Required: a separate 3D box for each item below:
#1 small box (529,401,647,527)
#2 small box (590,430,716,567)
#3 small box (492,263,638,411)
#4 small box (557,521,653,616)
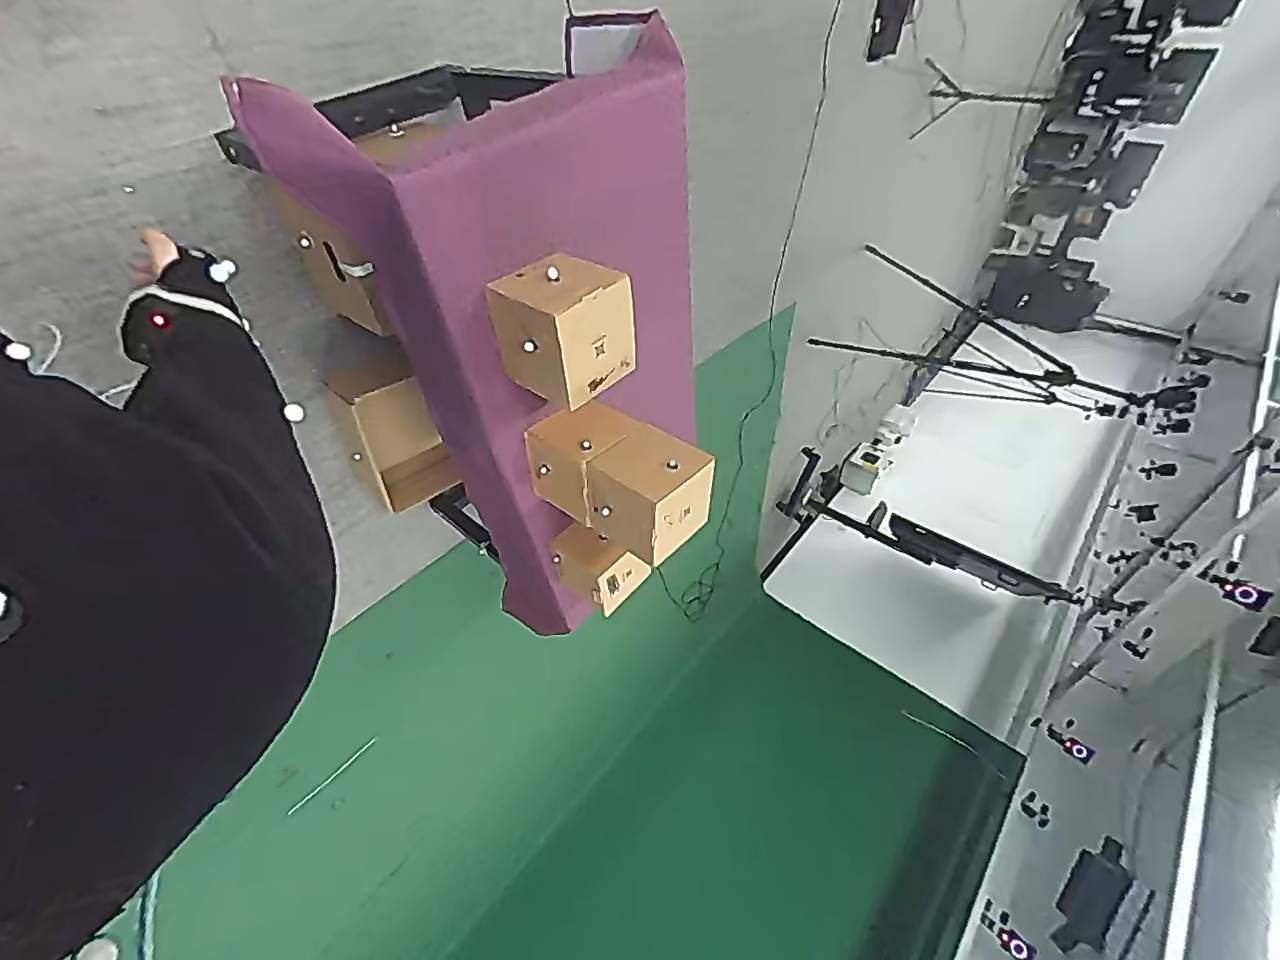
[{"bbox_3d":[-0.105,-0.042,1.124,0.179,0.176,0.168,-35,142,-34],"label":"small box"},{"bbox_3d":[0.023,0.027,1.045,0.179,0.176,0.168,-35,141,-35],"label":"small box"},{"bbox_3d":[-0.124,-0.251,0.912,0.168,0.176,0.179,-39,143,-30],"label":"small box"},{"bbox_3d":[-0.090,0.194,1.342,0.179,0.176,0.168,-40,144,-31],"label":"small box"}]
